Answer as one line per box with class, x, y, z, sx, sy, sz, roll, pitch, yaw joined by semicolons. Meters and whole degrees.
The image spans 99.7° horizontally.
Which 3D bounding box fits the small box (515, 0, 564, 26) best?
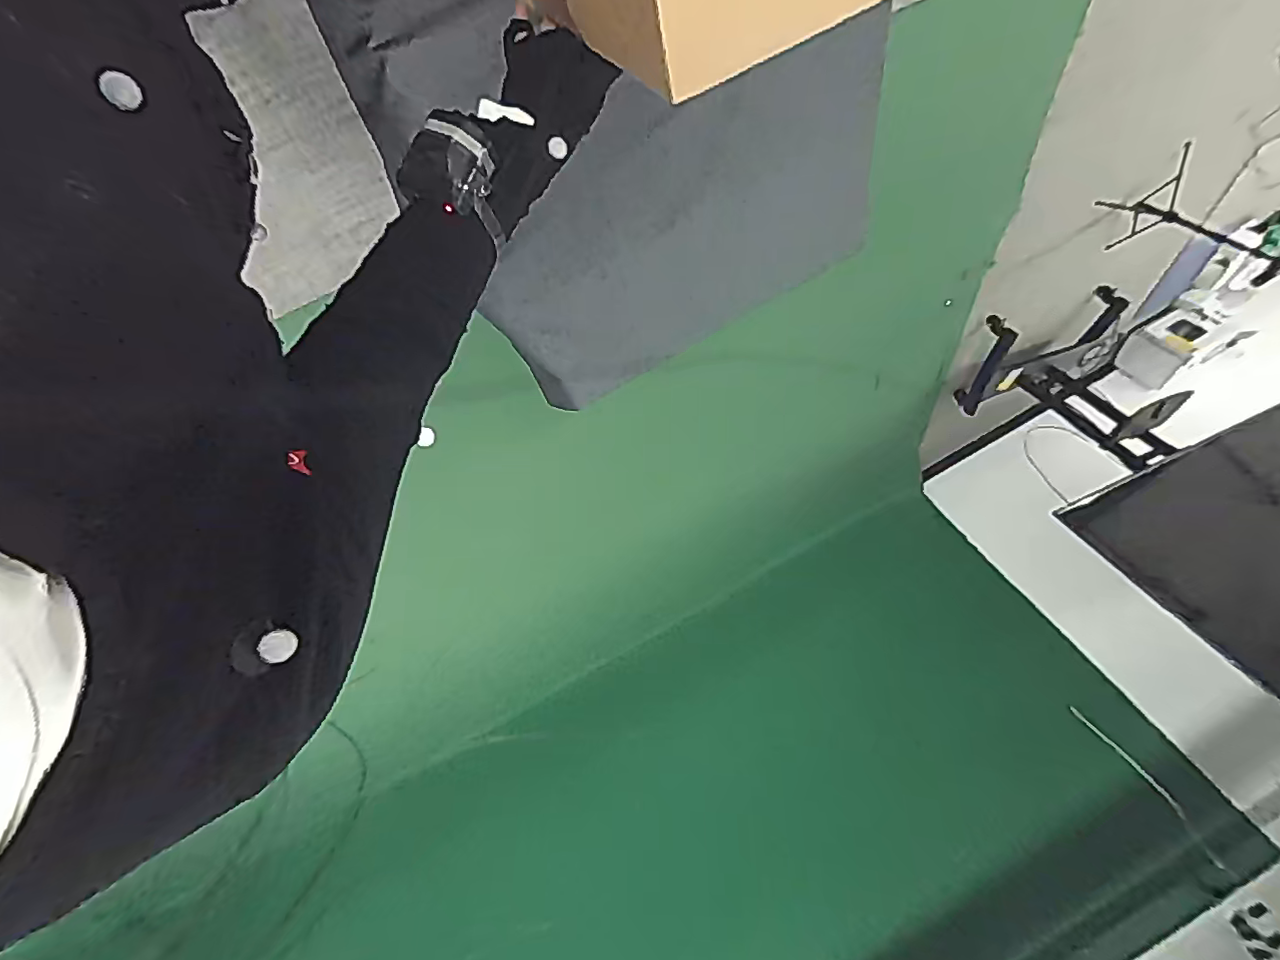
small box;-0.029;-0.483;0.420;0.179;0.176;0.168;-30;146;-6
